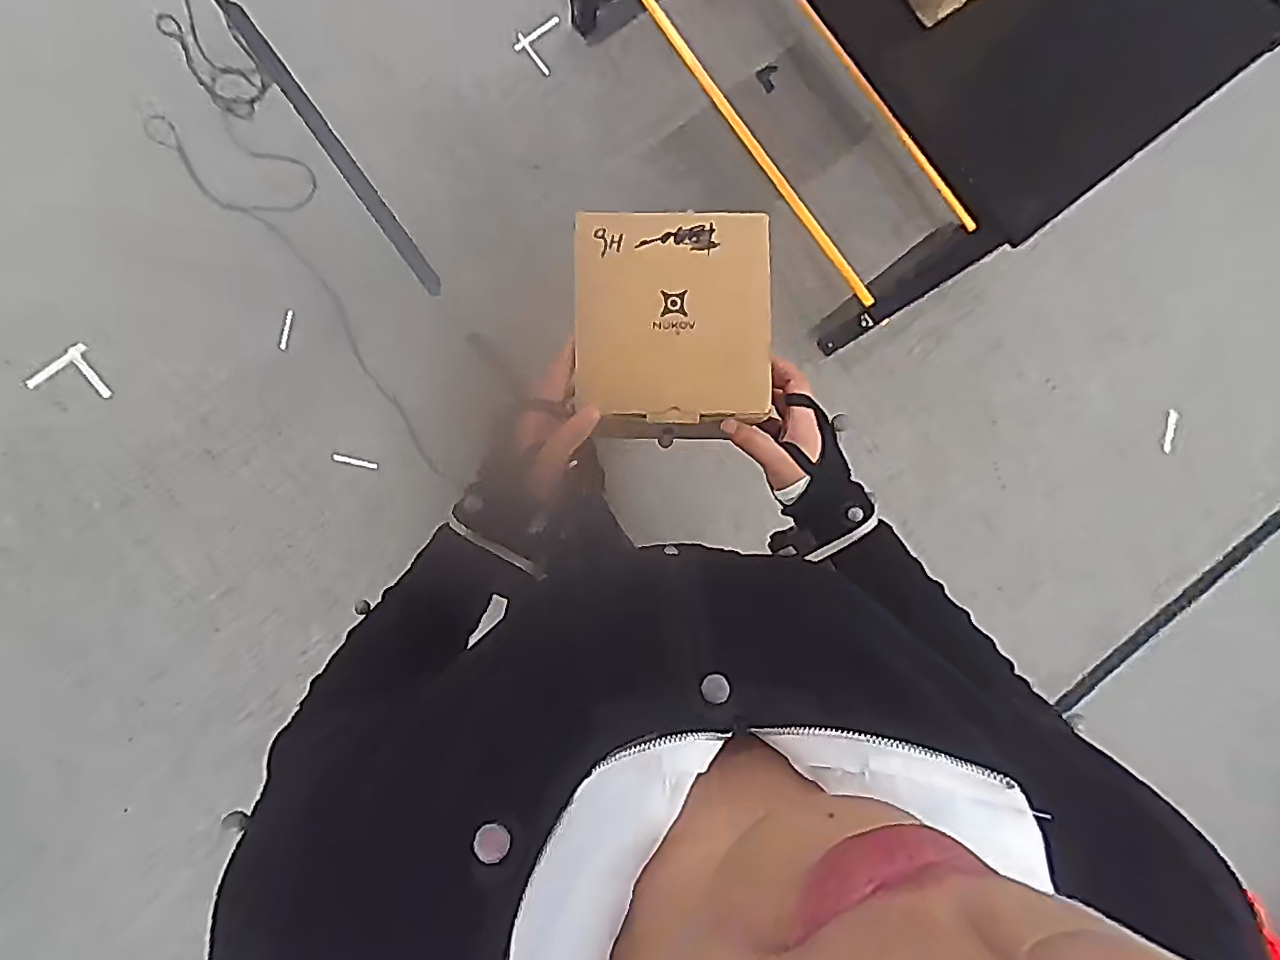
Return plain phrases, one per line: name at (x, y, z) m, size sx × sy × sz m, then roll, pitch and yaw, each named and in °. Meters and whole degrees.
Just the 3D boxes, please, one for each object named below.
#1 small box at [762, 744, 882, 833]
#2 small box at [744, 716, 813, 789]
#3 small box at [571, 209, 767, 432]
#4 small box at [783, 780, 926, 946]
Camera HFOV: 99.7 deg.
small box at (0.412, 0.755, 1.252) m, size 0.179 × 0.176 × 0.168 m, roll -38°, pitch 91°, yaw -4°
small box at (0.401, 0.759, 1.417) m, size 0.168 × 0.176 × 0.179 m, roll -42°, pitch 90°, yaw -4°
small box at (0.025, -0.139, 0.530) m, size 0.168 × 0.176 × 0.179 m, roll 0°, pitch 89°, yaw -1°
small box at (0.421, 0.755, 1.087) m, size 0.168 × 0.176 × 0.179 m, roll -35°, pitch 90°, yaw -5°
